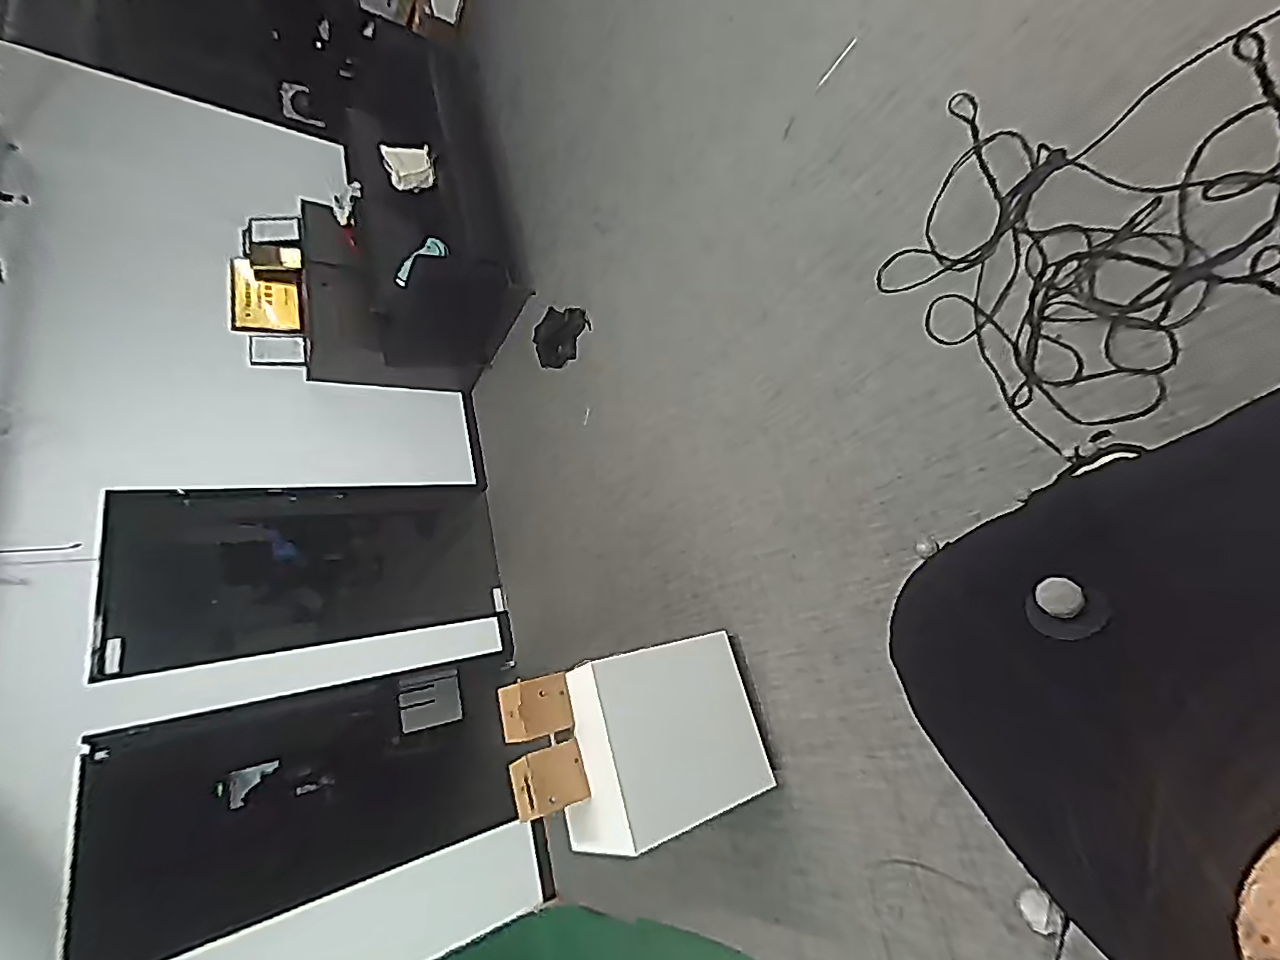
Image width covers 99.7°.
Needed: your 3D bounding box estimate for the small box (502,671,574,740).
[{"bbox_3d":[-0.319,0.715,1.720,0.179,0.176,0.168,-37,60,49],"label":"small box"}]
